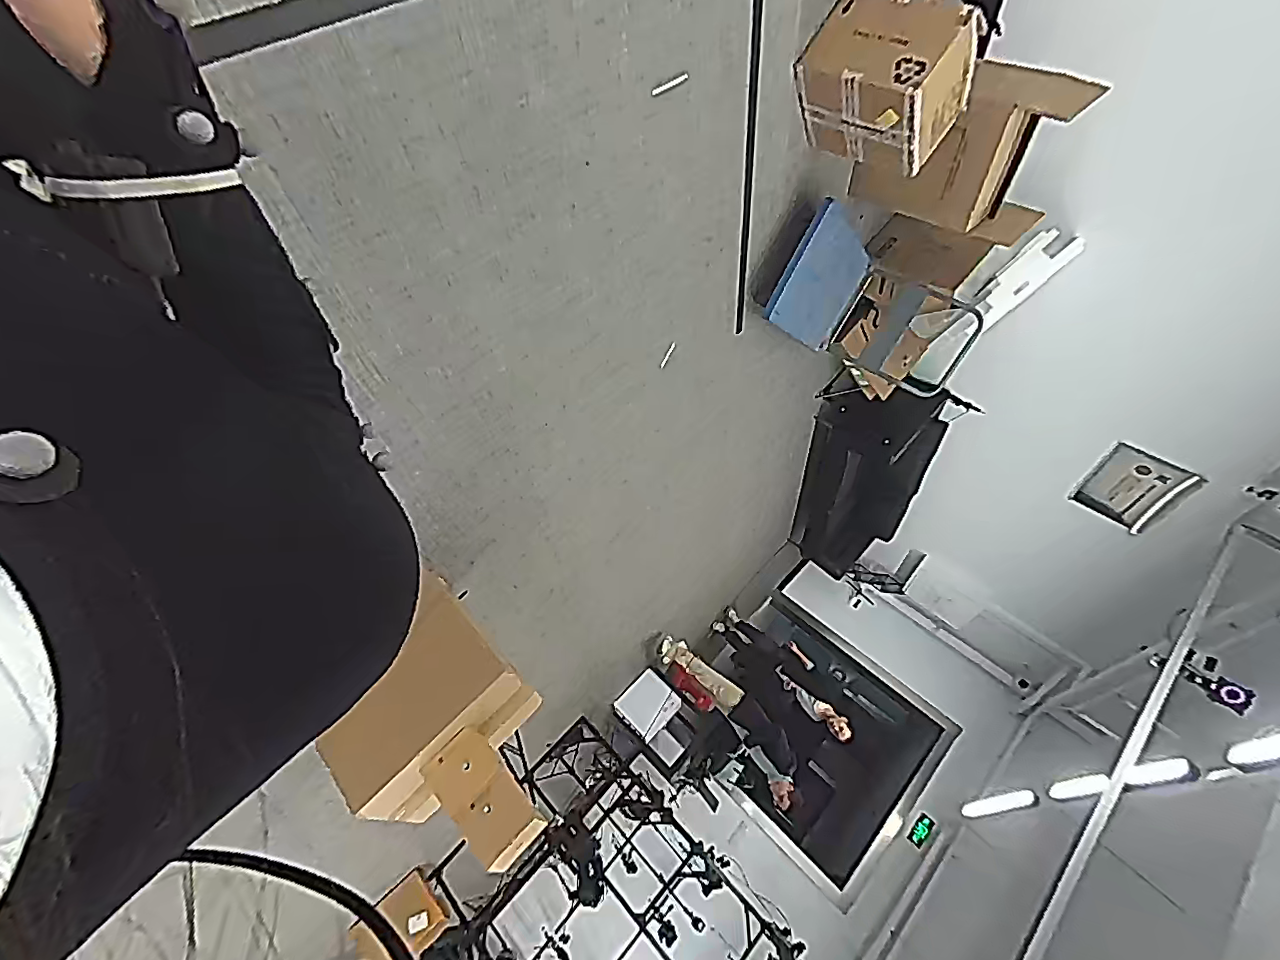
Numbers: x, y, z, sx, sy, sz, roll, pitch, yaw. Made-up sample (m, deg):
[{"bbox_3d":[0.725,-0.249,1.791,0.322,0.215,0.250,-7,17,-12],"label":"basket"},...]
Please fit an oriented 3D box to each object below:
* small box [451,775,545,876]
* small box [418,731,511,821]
[{"bbox_3d":[-0.394,0.960,1.507,0.168,0.176,0.179,-41,150,-25],"label":"small box"},{"bbox_3d":[-0.511,0.868,1.578,0.168,0.176,0.179,-42,151,-22],"label":"small box"}]
